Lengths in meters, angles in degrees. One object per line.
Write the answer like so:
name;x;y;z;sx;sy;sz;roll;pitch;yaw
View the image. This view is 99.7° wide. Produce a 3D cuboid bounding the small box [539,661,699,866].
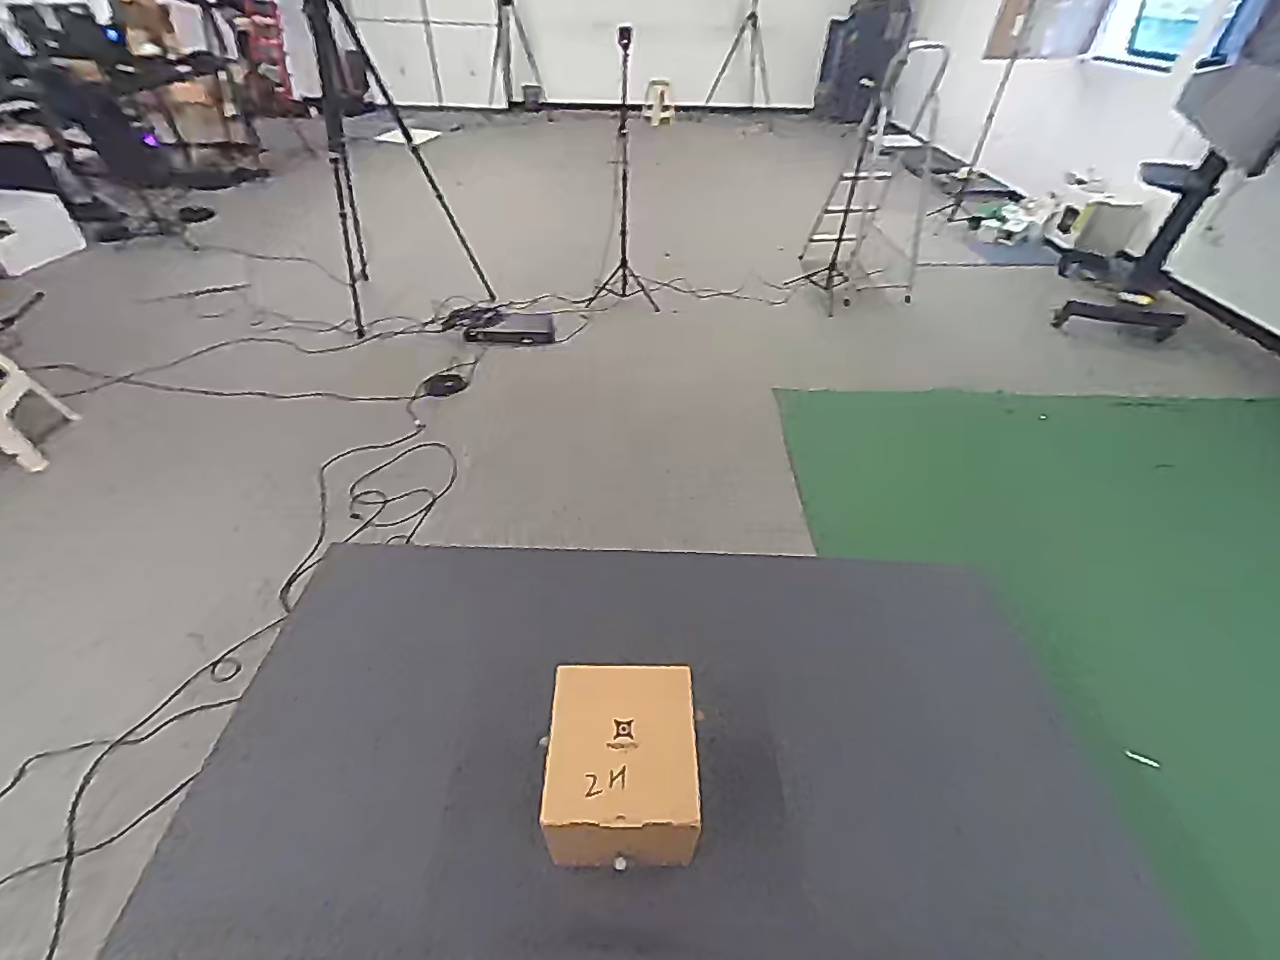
small box;-0.023;0.343;0.660;0.168;0.176;0.179;0;42;-1
